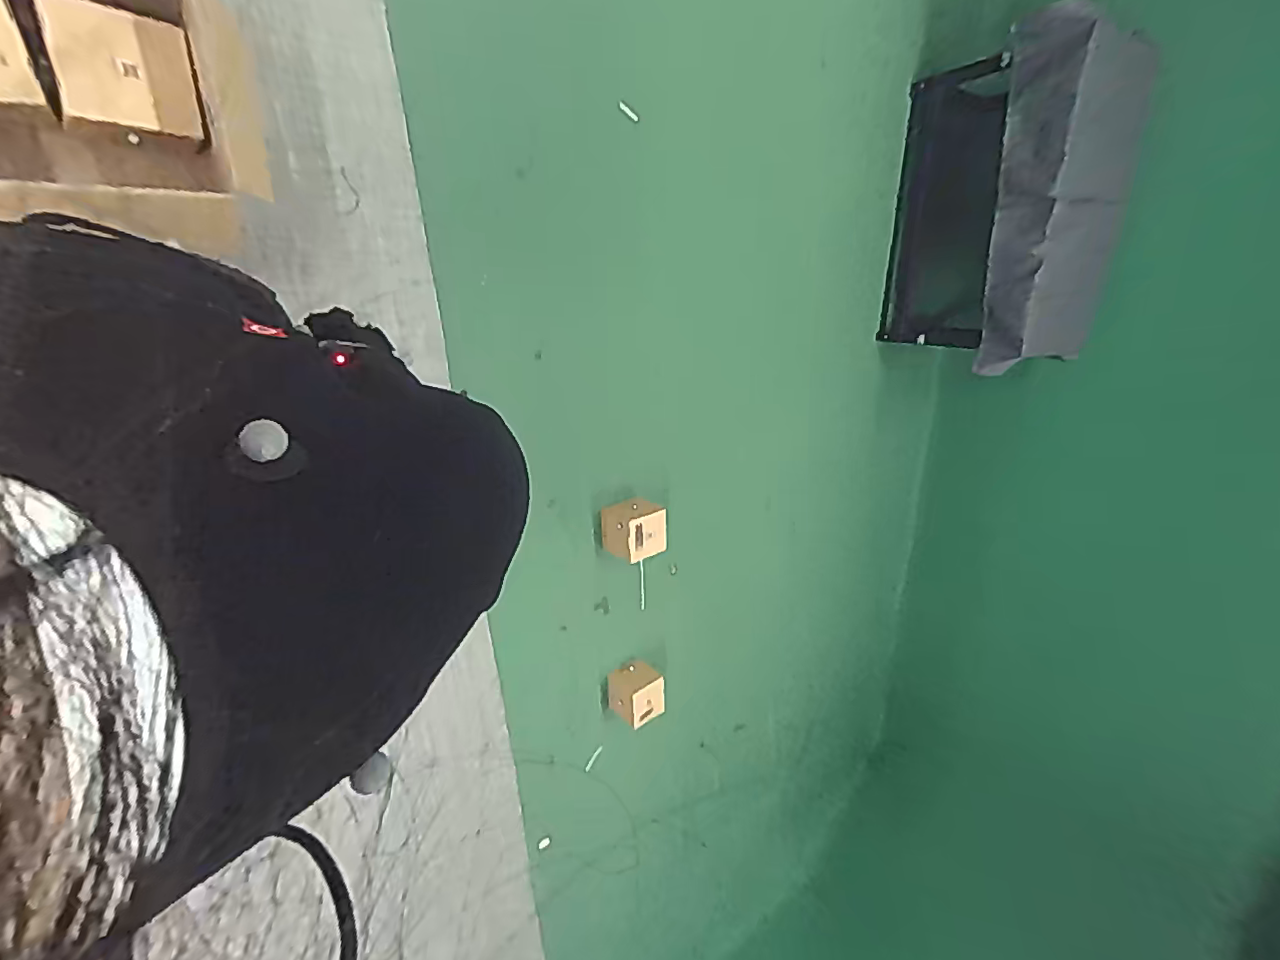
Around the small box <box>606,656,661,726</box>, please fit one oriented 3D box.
[{"bbox_3d":[-0.028,0.867,2.238,0.168,0.176,0.179,-17,115,-37],"label":"small box"}]
